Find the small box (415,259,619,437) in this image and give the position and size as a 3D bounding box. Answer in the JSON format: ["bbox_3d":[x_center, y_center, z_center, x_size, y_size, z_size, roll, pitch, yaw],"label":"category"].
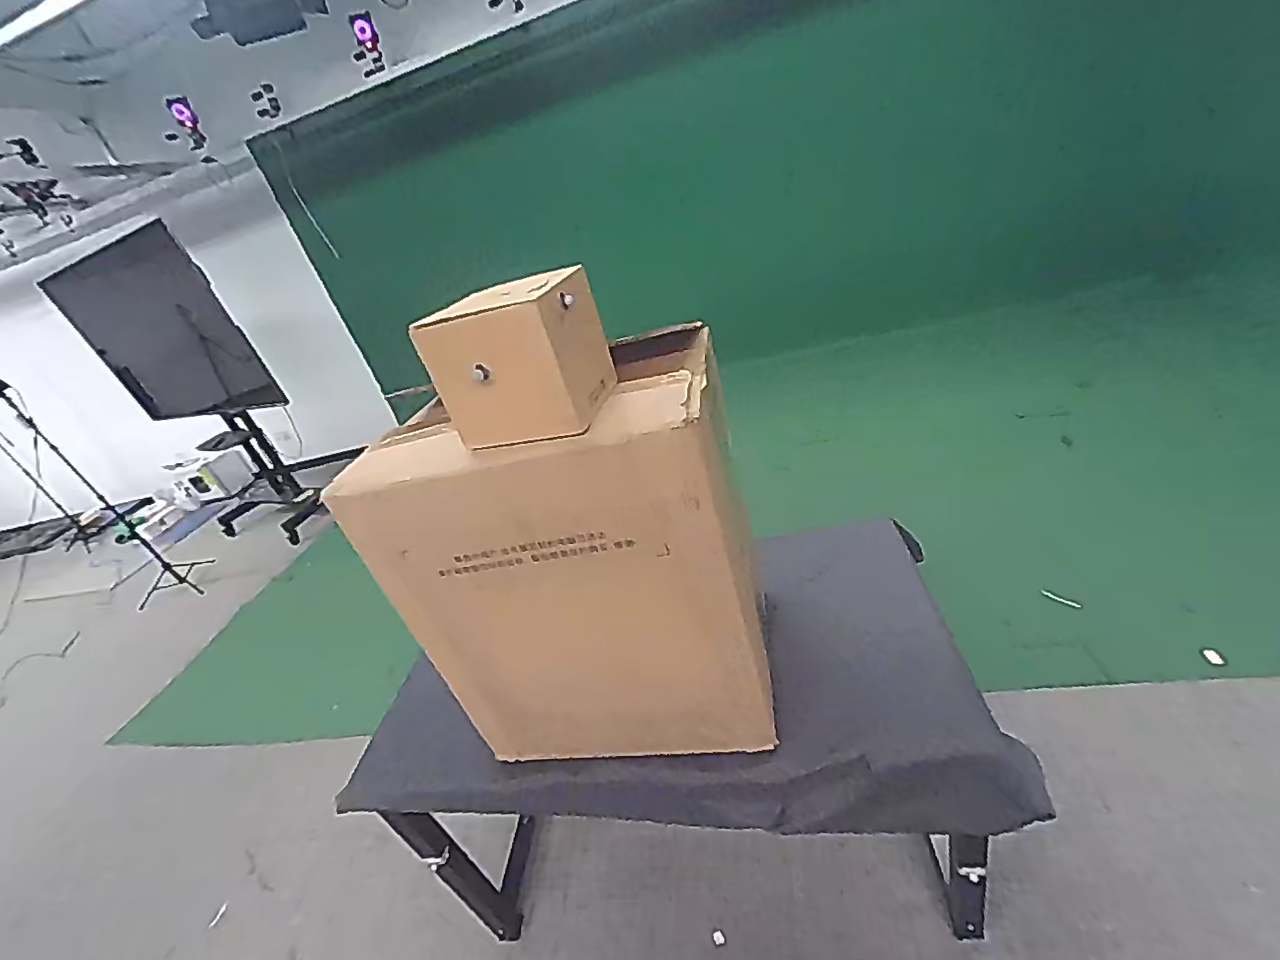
[{"bbox_3d":[-0.148,-0.169,0.715,0.179,0.176,0.168,-6,32,20],"label":"small box"}]
